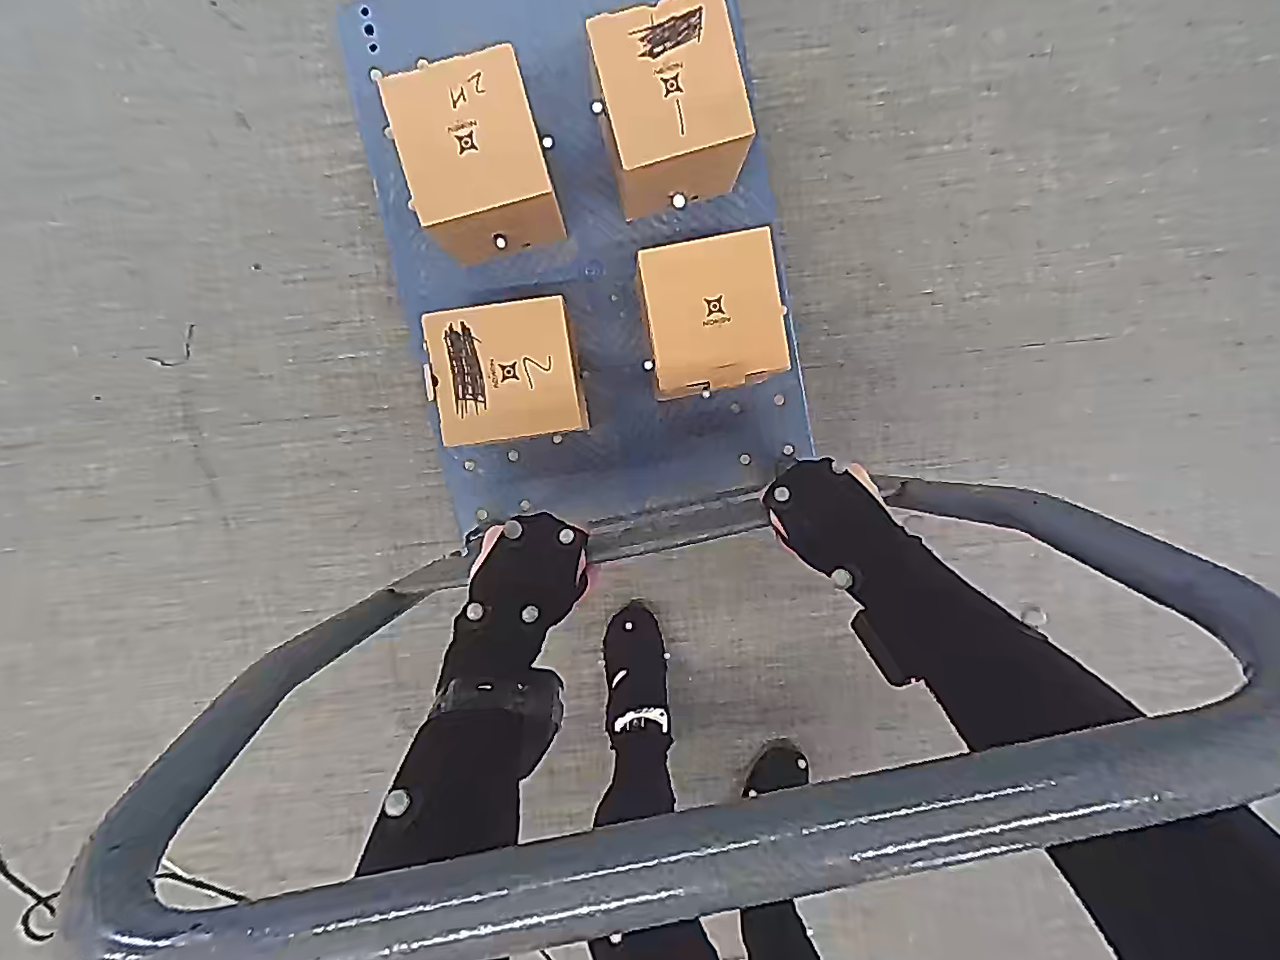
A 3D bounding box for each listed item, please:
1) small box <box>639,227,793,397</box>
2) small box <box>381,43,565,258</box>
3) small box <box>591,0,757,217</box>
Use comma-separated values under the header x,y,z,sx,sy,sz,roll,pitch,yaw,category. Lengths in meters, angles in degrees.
x,y,z,sx,sy,sz,roll,pitch,yaw,category
0.093,-0.217,0.740,0.168,0.176,0.179,-10,96,0,small box
-0.204,-0.413,0.715,0.168,0.176,0.179,-15,96,0,small box
0.039,-0.480,0.712,0.168,0.176,0.179,-15,97,1,small box
